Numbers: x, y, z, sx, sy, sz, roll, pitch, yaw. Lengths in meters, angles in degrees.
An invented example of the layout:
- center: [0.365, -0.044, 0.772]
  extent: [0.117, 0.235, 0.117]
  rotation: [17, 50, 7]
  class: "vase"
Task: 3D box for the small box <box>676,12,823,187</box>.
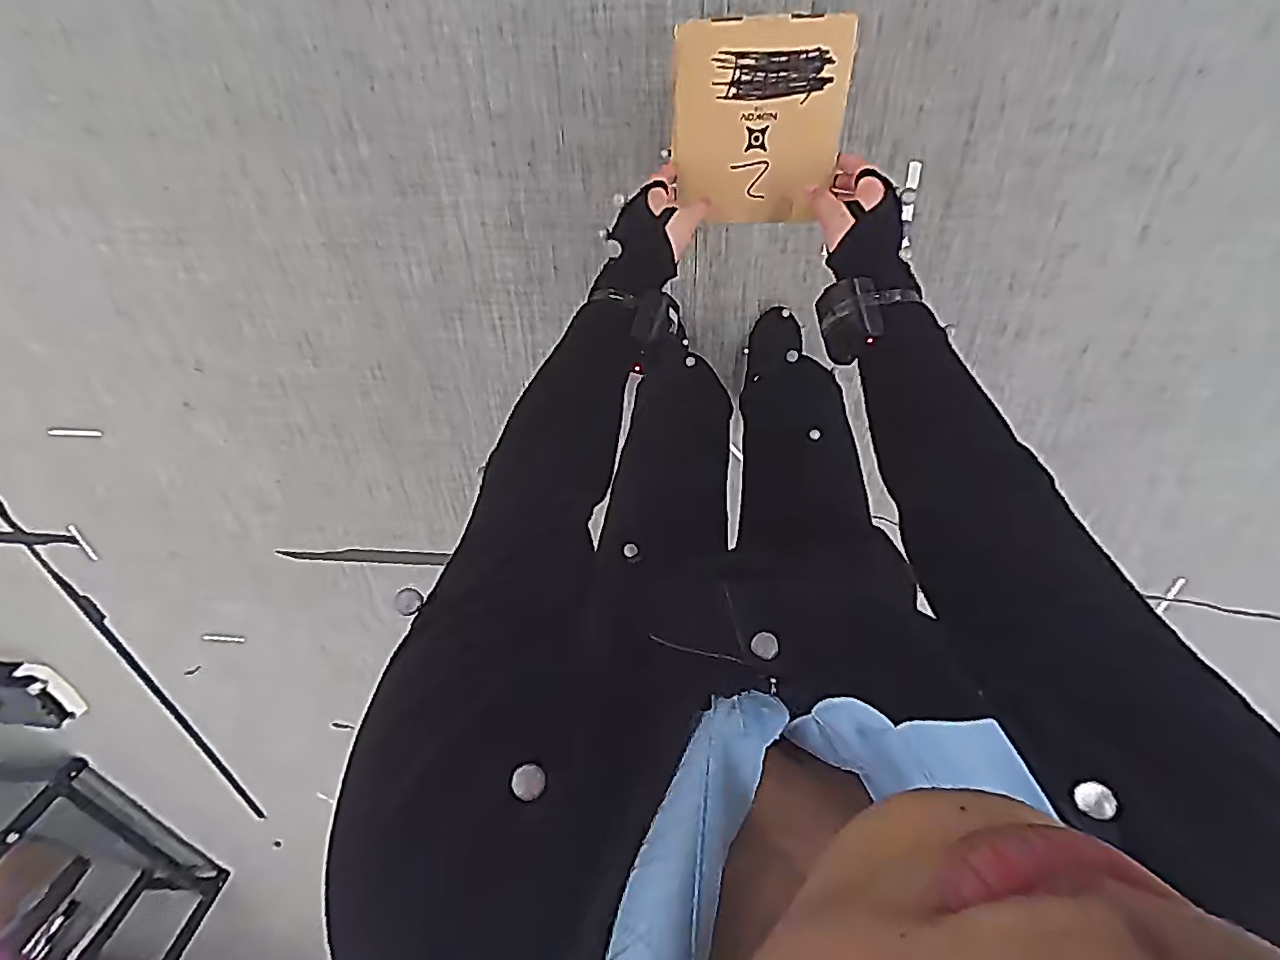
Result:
- center: [0.133, -0.502, 0.729]
  extent: [0.168, 0.176, 0.179]
  rotation: [2, 124, 4]
  class: "small box"
